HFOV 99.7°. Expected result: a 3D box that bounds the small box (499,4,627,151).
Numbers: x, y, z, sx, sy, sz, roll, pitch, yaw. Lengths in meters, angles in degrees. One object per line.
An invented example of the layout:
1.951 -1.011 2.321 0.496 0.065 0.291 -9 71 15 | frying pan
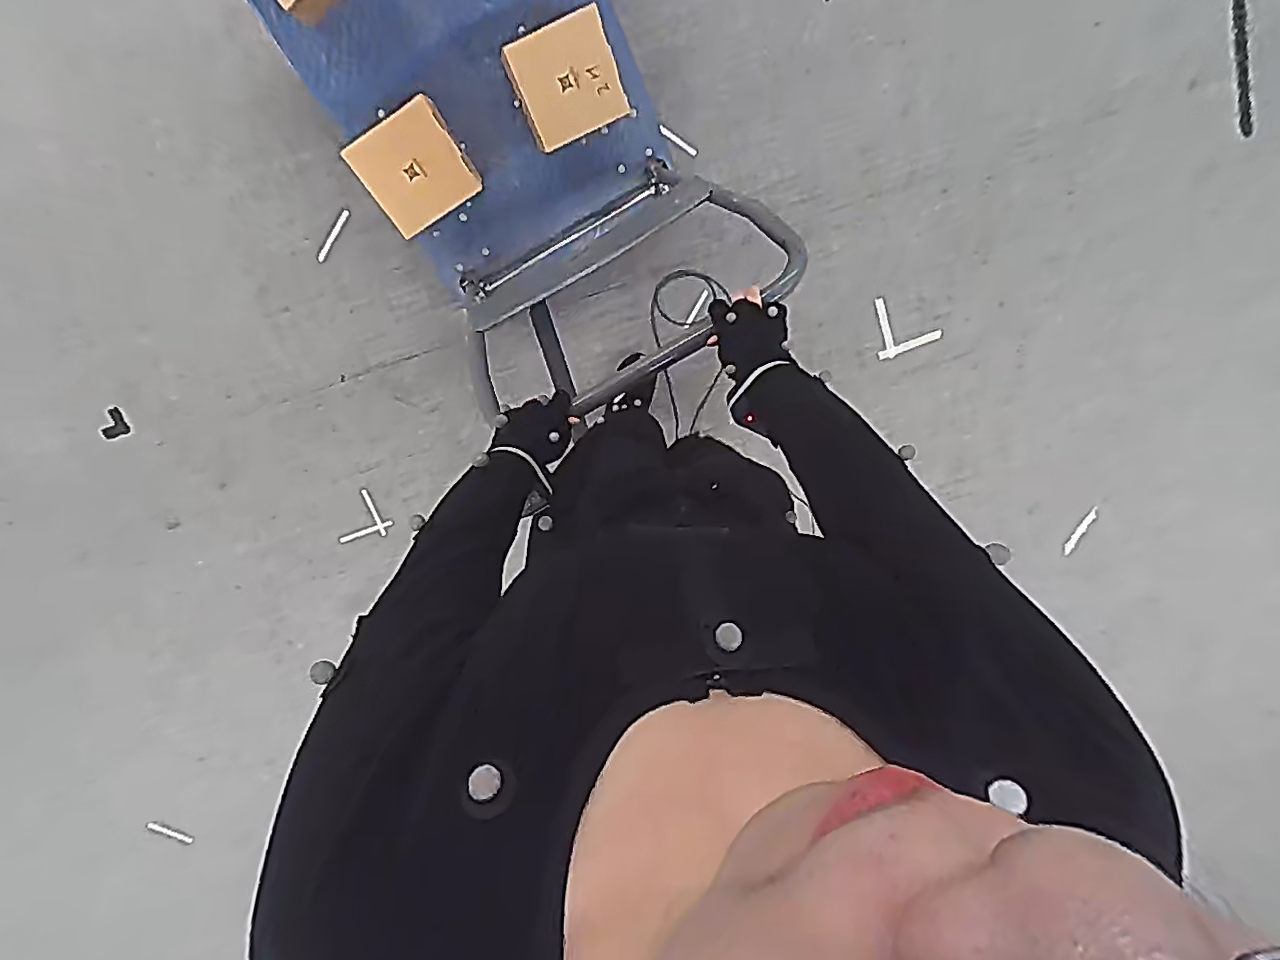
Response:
-0.146 -0.738 1.010 0.179 0.176 0.168 -26 125 1 | small box

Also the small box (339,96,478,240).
-0.425 -0.587 1.026 0.179 0.176 0.168 -33 124 4 | small box
